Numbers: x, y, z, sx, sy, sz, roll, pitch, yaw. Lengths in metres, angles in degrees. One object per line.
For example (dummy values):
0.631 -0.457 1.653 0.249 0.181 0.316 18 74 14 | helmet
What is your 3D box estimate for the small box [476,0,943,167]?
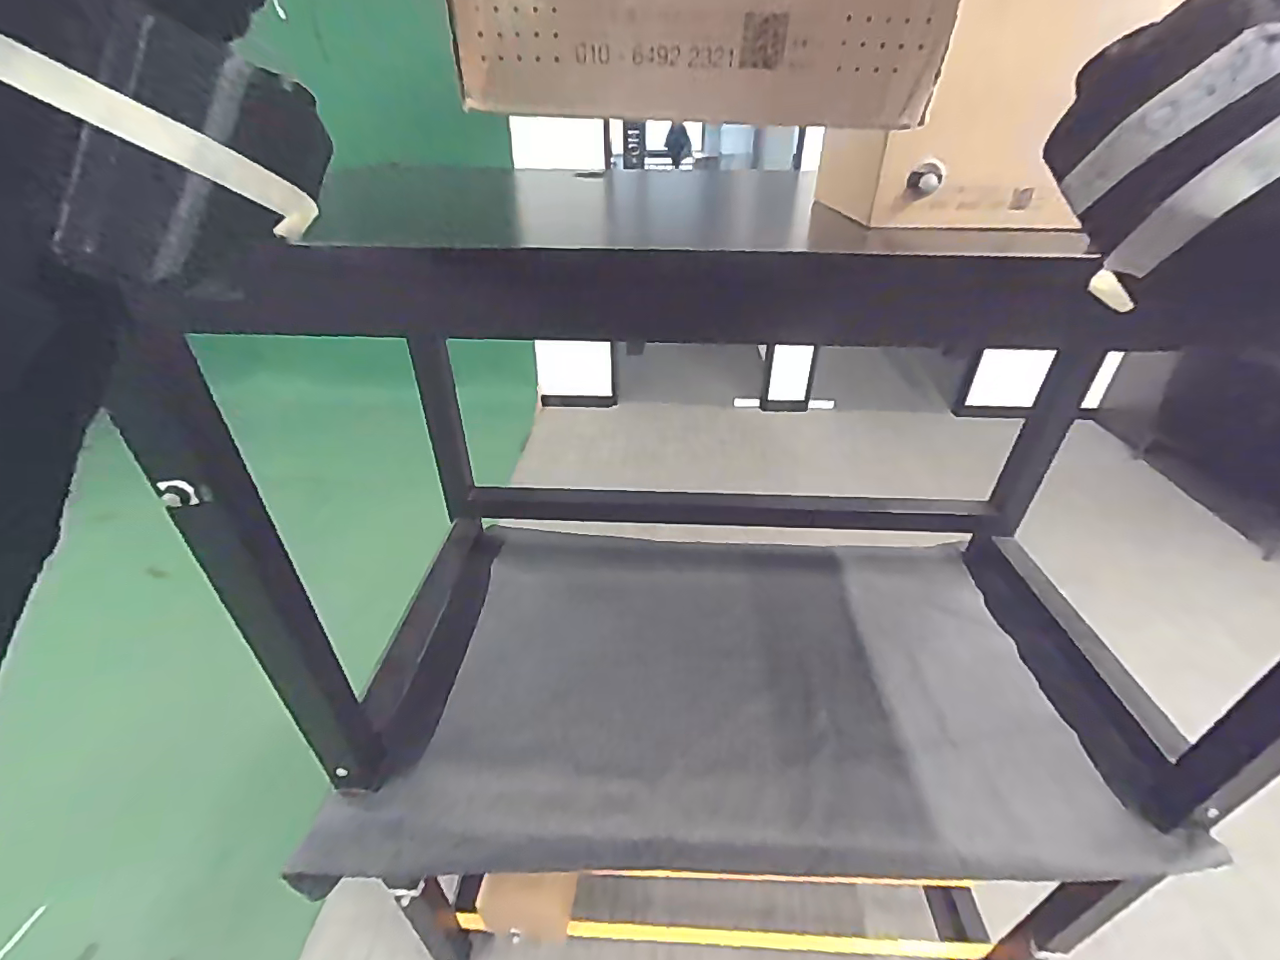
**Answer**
0.025 -0.244 0.219 0.168 0.176 0.179 2 42 0 | small box
